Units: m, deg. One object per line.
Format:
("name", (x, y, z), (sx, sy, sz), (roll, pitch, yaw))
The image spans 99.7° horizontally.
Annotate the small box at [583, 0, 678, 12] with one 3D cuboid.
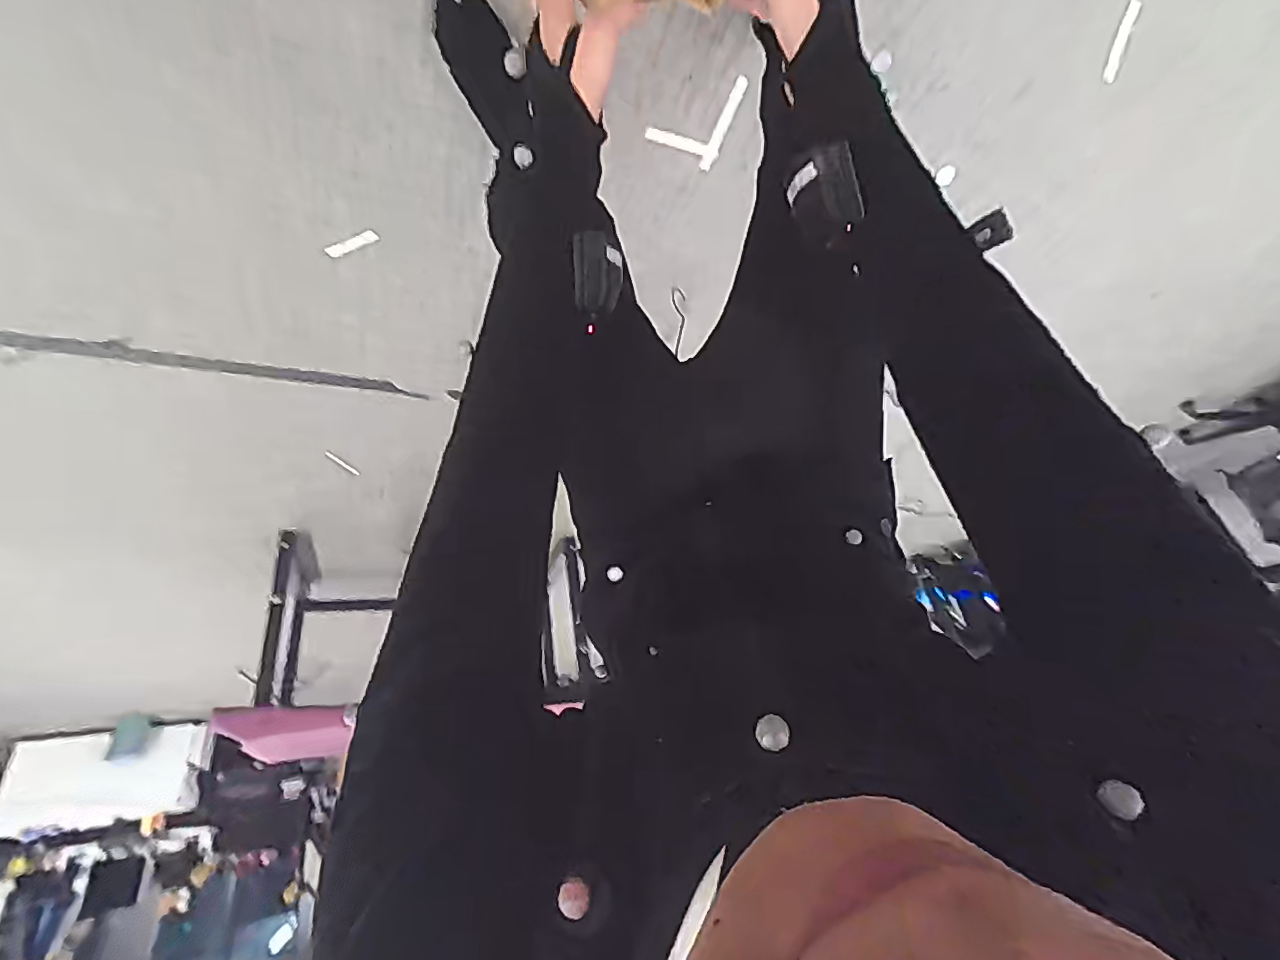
("small box", (0.017, -0.485, 0.405), (0.168, 0.176, 0.179), (-10, 139, -1))
